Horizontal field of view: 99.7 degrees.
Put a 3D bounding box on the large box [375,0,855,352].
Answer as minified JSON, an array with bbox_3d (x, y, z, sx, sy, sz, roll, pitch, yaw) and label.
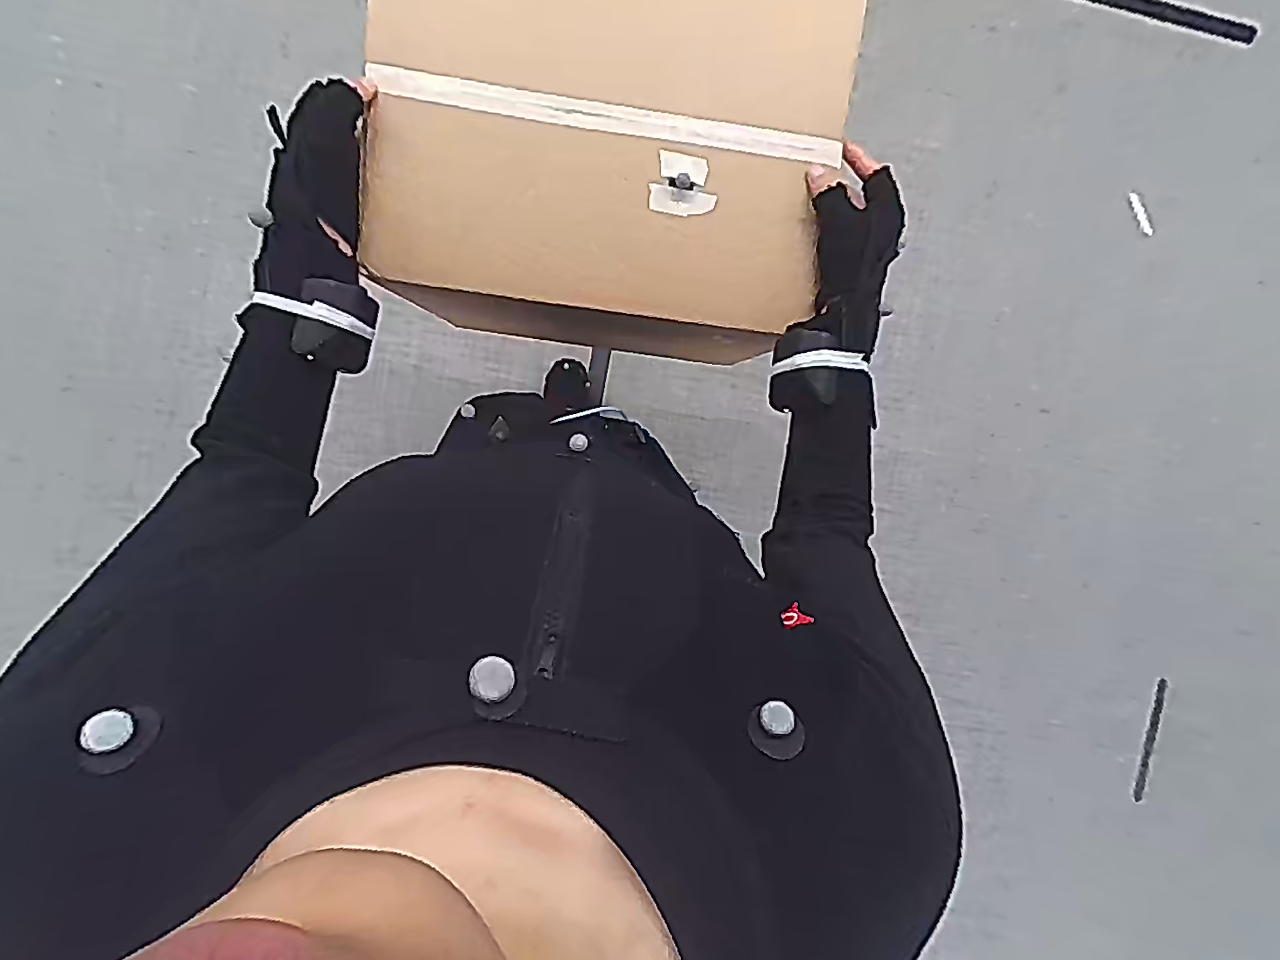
[{"bbox_3d":[-0.033,-0.339,0.620,0.408,0.320,0.320,7,98,-5],"label":"large box"}]
